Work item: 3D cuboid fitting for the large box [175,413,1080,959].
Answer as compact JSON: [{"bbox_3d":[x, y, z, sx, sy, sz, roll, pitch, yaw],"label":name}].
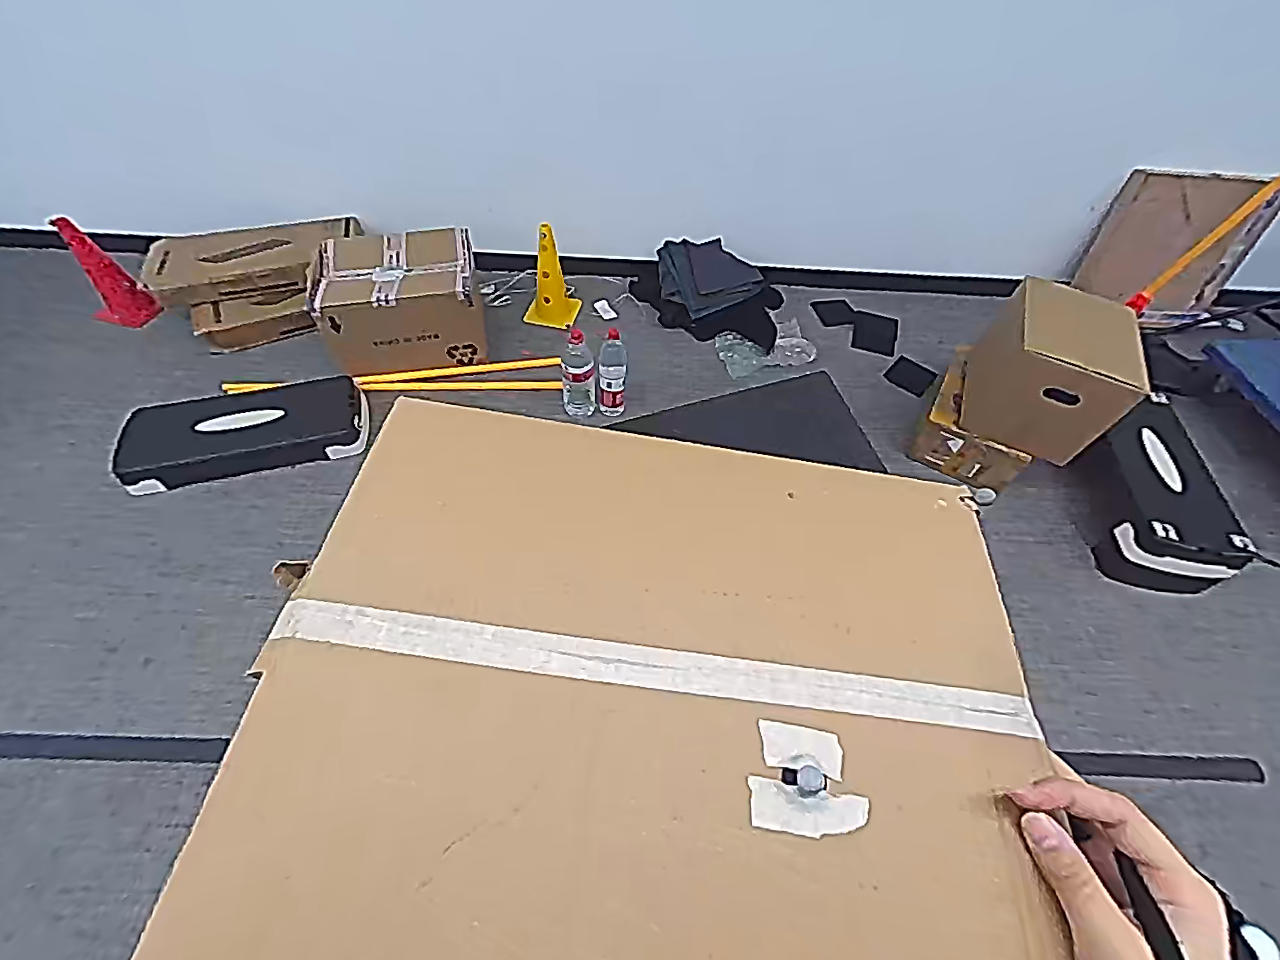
[{"bbox_3d":[0.001,0.189,0.426,0.408,0.320,0.320,10,57,-3],"label":"large box"}]
